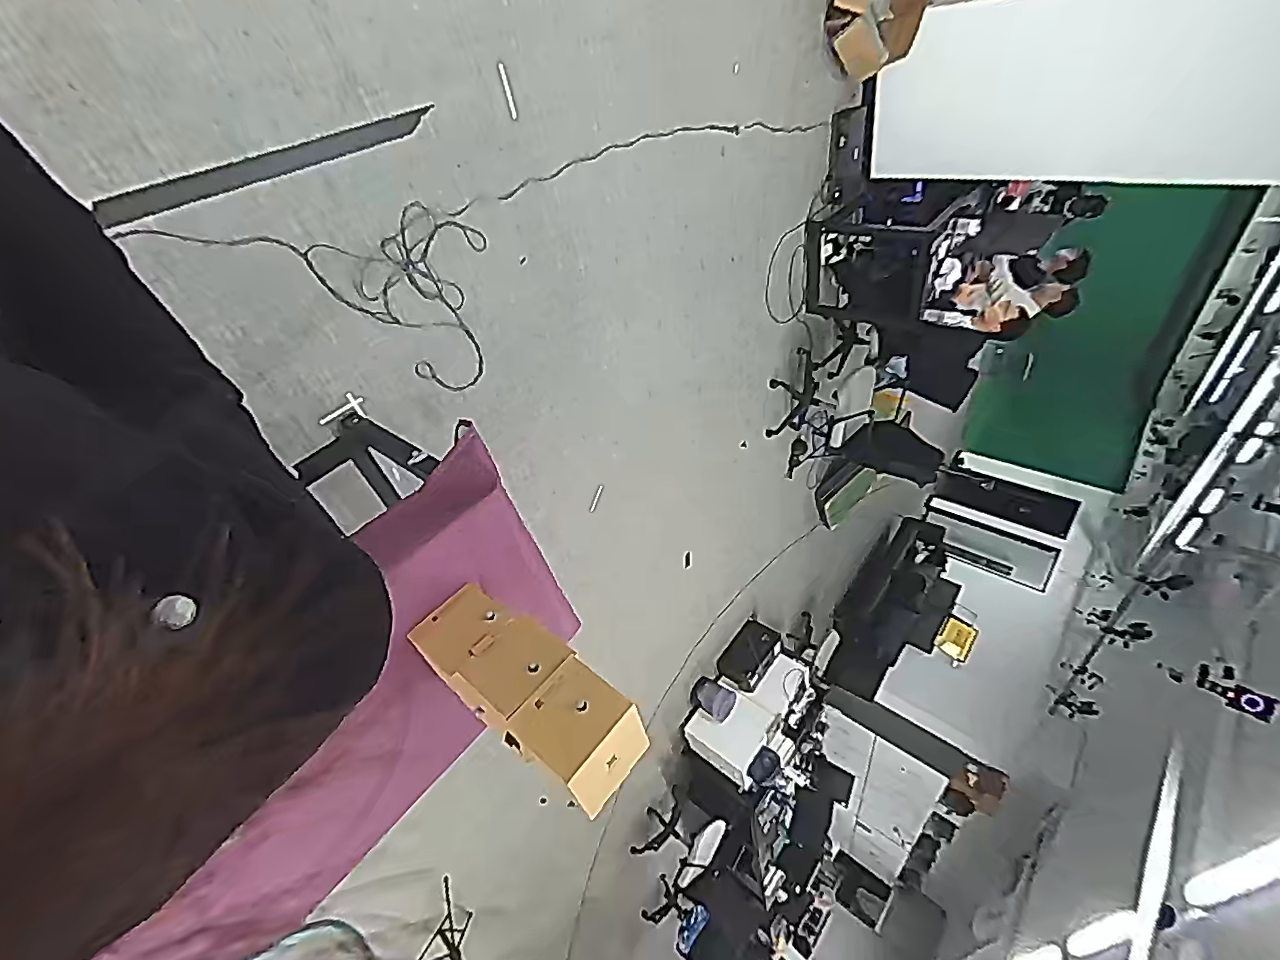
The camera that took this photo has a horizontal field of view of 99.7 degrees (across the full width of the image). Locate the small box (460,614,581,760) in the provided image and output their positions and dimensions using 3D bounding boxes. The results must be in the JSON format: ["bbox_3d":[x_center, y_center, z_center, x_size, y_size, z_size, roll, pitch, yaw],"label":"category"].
[{"bbox_3d":[-0.227,0.405,1.086,0.179,0.176,0.168,-37,135,-35],"label":"small box"}]

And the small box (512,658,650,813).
[{"bbox_3d":[-0.107,0.456,0.989,0.168,0.176,0.179,-43,140,-30],"label":"small box"}]
